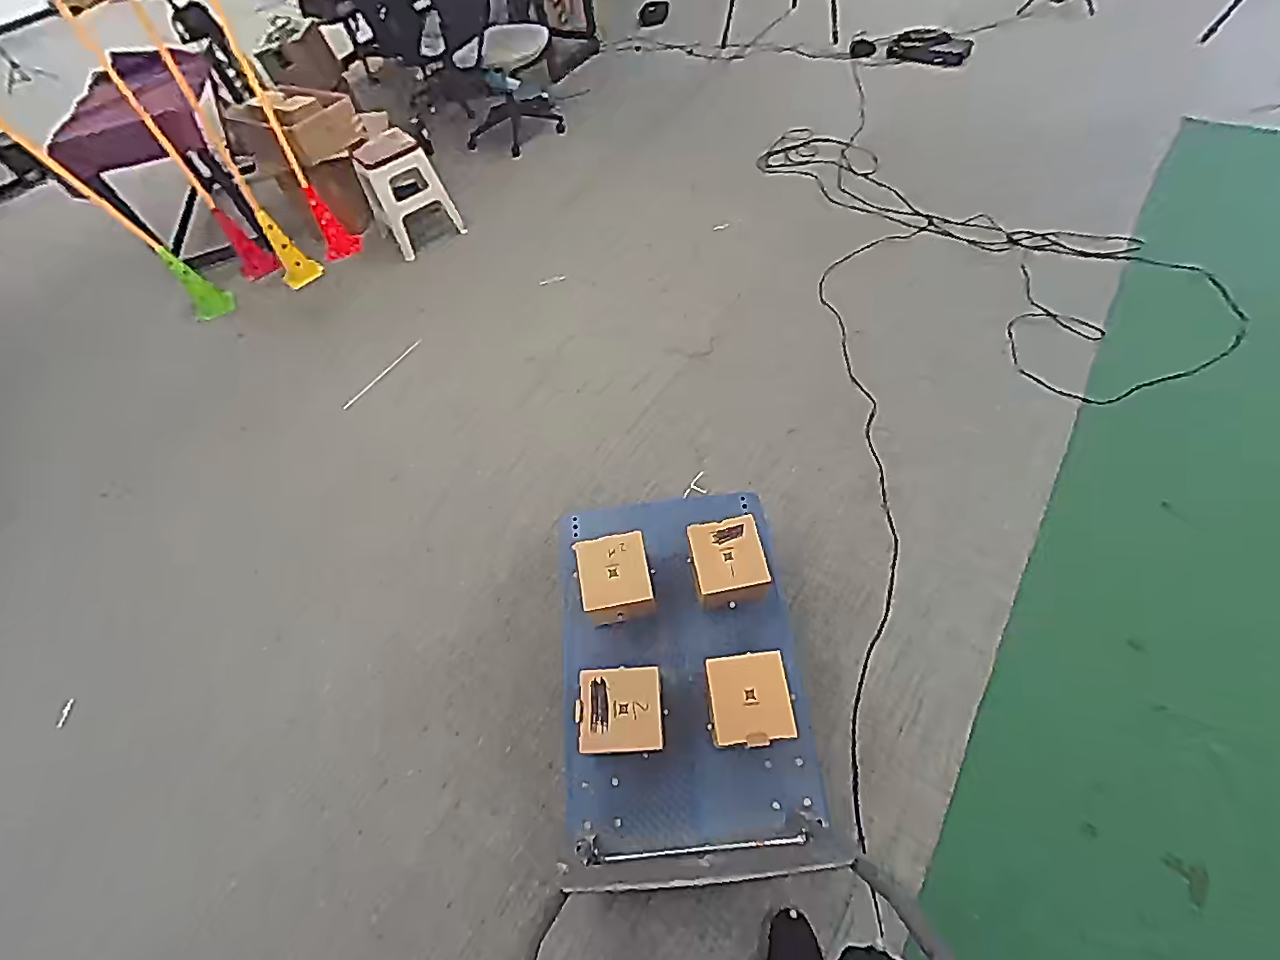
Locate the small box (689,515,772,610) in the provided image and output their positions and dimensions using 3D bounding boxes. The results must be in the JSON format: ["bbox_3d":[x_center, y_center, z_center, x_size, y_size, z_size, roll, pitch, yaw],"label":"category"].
[{"bbox_3d":[0.217,0.209,1.352,0.168,0.176,0.179,-11,64,0],"label":"small box"}]

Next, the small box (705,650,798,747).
[{"bbox_3d":[0.239,0.492,1.210,0.168,0.176,0.179,-7,64,1],"label":"small box"}]

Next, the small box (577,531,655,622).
[{"bbox_3d":[-0.057,0.248,1.355,0.168,0.176,0.179,-10,63,-1],"label":"small box"}]
